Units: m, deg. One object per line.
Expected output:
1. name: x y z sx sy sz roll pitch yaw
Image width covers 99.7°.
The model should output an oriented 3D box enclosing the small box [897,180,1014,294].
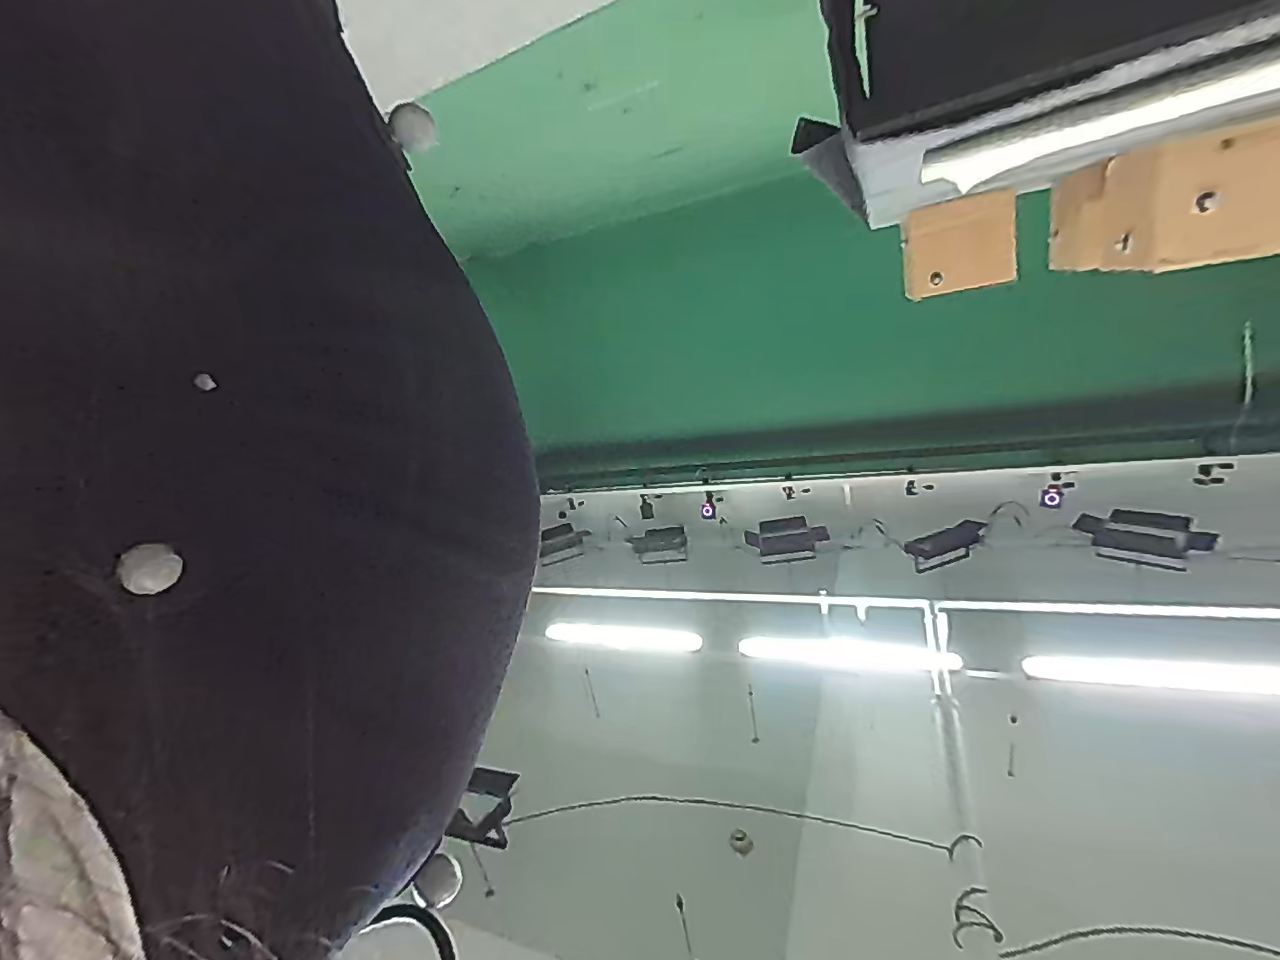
1. small box: 0.627 -0.485 1.086 0.179 0.176 0.168 -5 -161 22
